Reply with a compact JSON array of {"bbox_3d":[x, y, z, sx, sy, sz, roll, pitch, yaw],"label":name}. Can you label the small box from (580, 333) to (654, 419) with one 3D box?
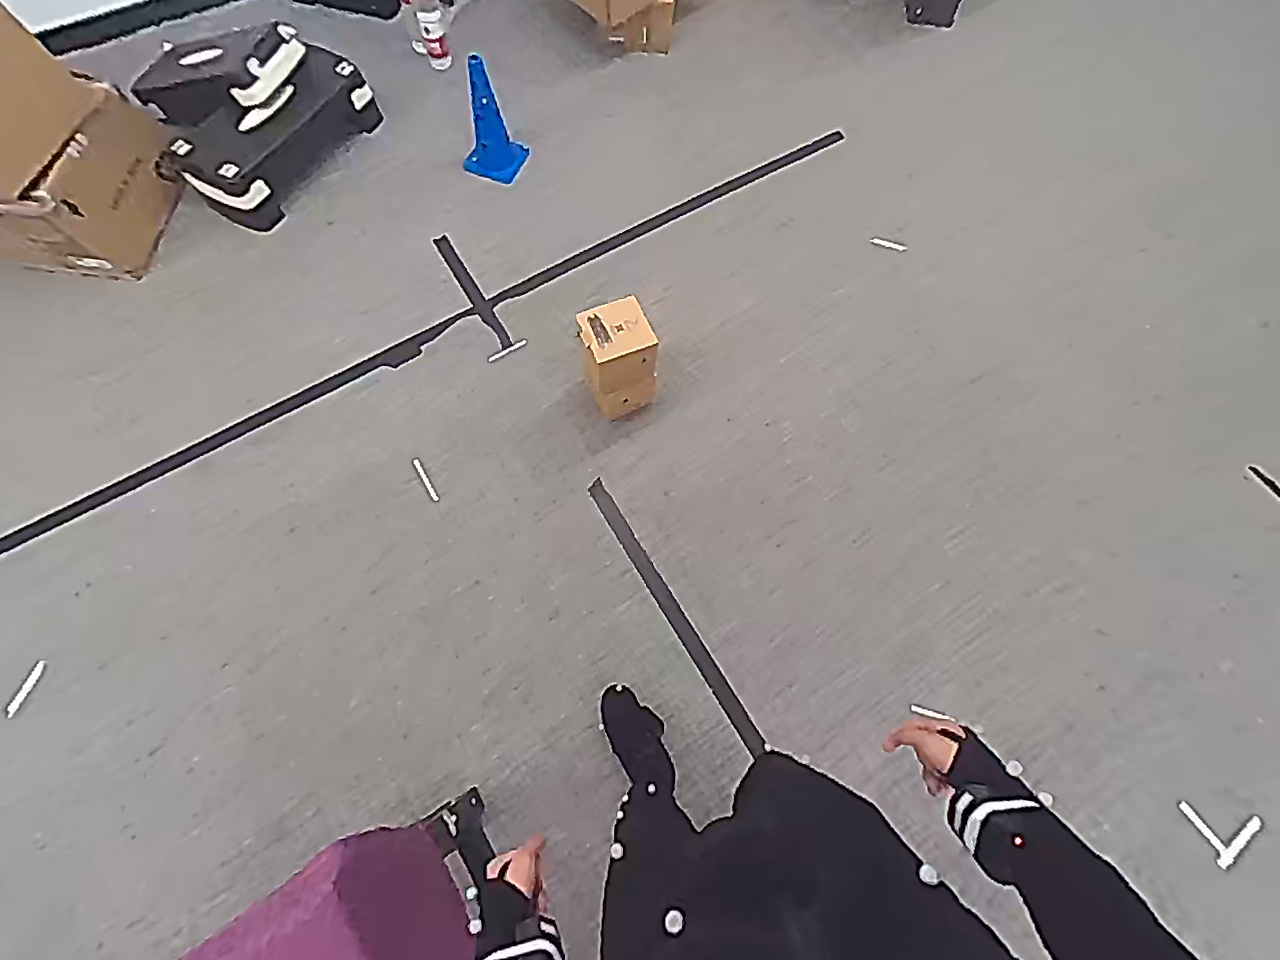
[{"bbox_3d":[-0.070,-0.307,1.652,0.168,0.176,0.179,-27,73,-12],"label":"small box"}]
